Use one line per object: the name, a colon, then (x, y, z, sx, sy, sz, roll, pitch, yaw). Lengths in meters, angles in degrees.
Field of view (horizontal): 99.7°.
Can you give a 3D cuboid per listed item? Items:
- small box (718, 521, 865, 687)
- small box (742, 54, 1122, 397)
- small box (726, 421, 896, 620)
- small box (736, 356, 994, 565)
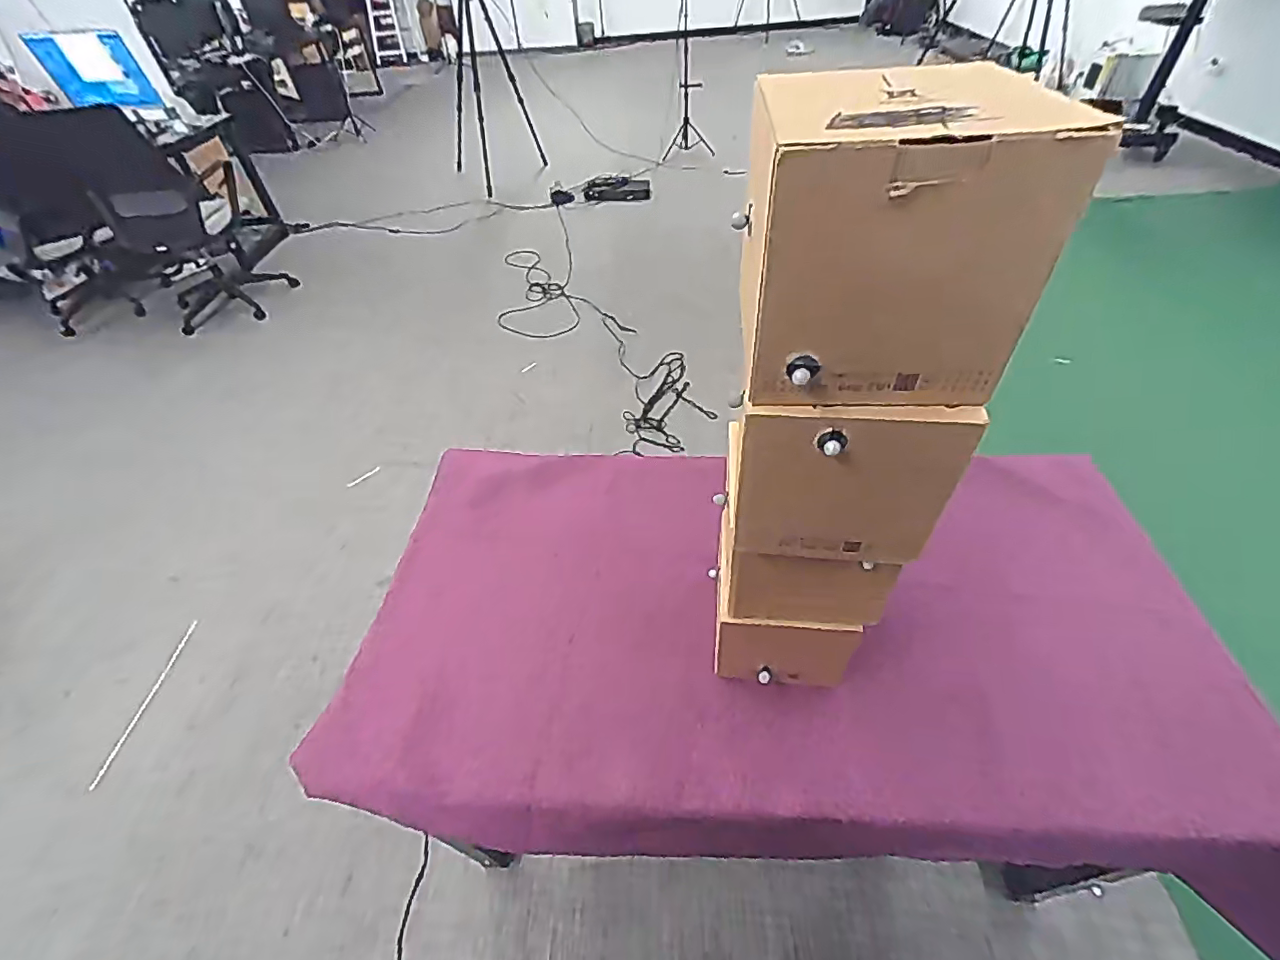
small box: (0.193, 0.159, 0.739, 0.168, 0.176, 0.179, 2, 48, 8)
small box: (0.162, -0.171, 0.378, 0.168, 0.176, 0.179, 1, 46, 6)
small box: (0.189, 0.047, 0.622, 0.179, 0.176, 0.168, 1, 47, 7)
small box: (0.175, -0.048, 0.487, 0.168, 0.176, 0.179, 3, 46, 9)
